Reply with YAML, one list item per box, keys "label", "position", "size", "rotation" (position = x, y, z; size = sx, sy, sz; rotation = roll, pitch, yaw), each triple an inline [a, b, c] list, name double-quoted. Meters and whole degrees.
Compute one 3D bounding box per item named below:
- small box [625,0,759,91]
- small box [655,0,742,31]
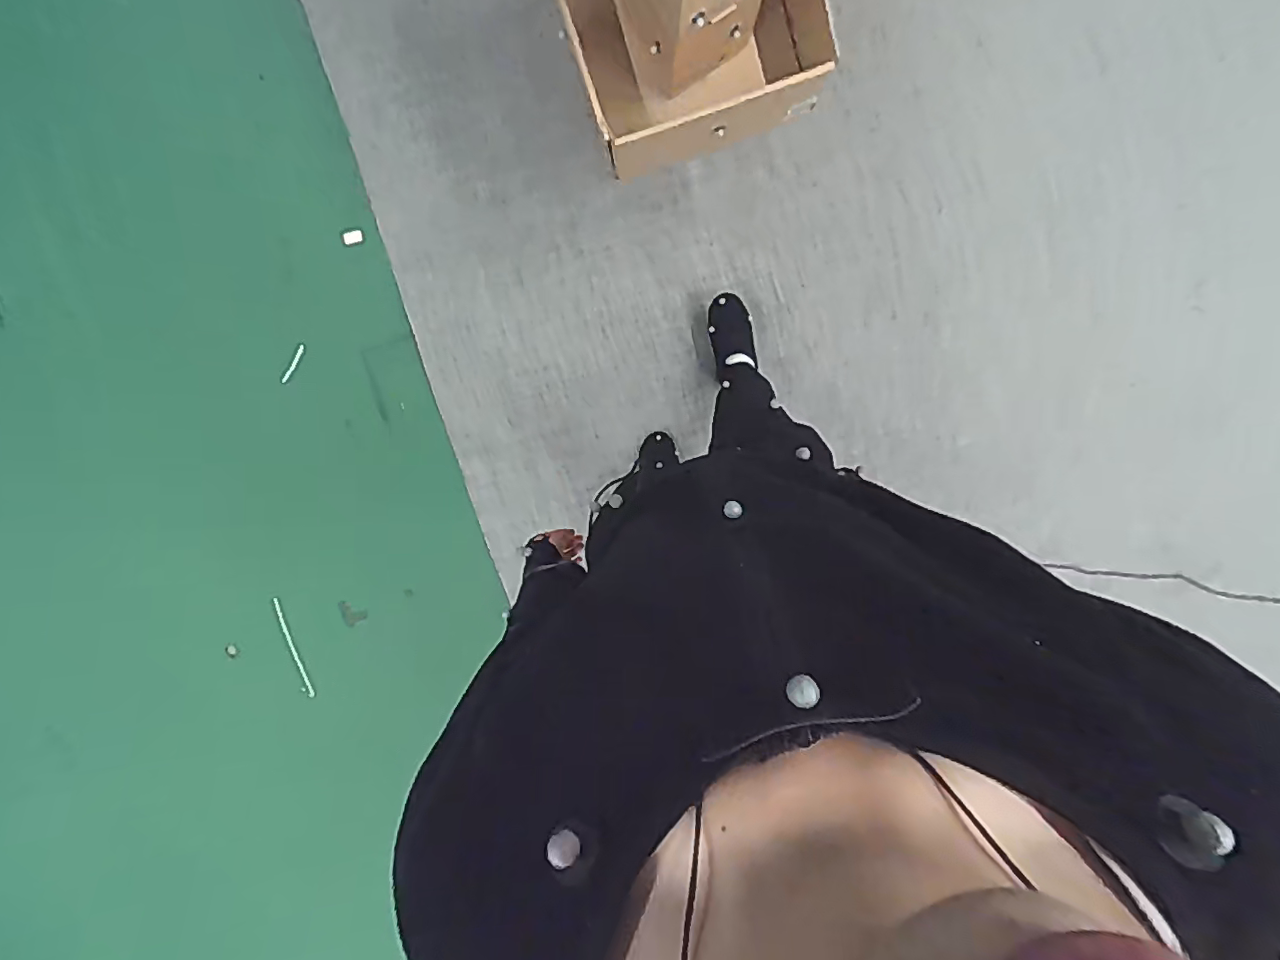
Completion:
- label: "small box"
  position: [0.085, -0.791, 0.890]
  size: [0.168, 0.176, 0.179]
  rotation: [-30, 97, 4]
- label: "small box"
  position: [0.086, -0.765, 0.729]
  size: [0.168, 0.176, 0.179]
  rotation: [-31, 96, 4]
